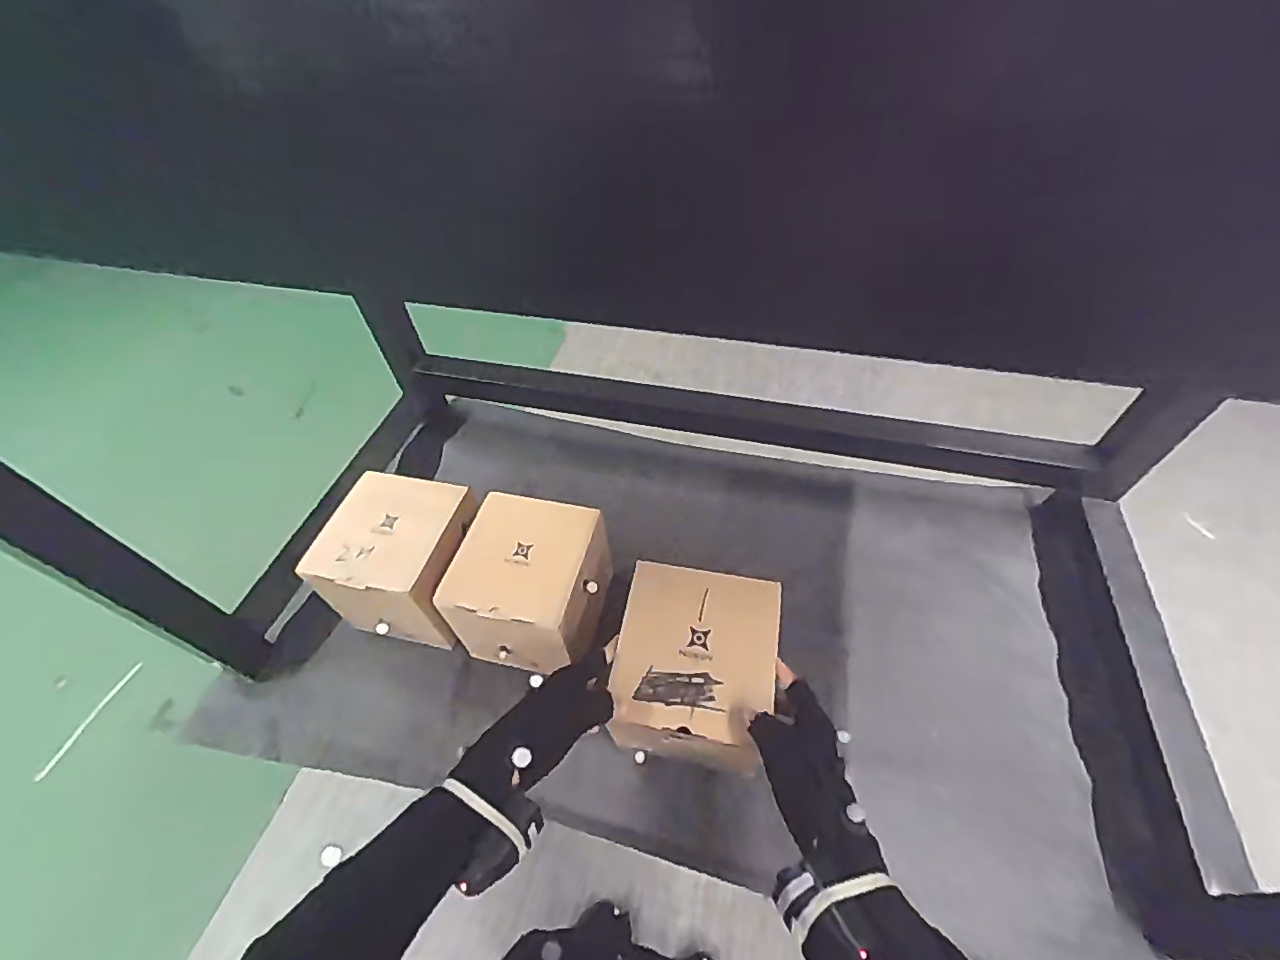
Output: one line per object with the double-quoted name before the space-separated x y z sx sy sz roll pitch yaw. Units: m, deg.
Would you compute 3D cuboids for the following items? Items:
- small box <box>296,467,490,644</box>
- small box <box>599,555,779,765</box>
"small box" -0.335 0.110 0.781 0.168 0.176 0.179 8 51 11
"small box" 0.061 0.212 0.625 0.168 0.176 0.179 8 55 10
